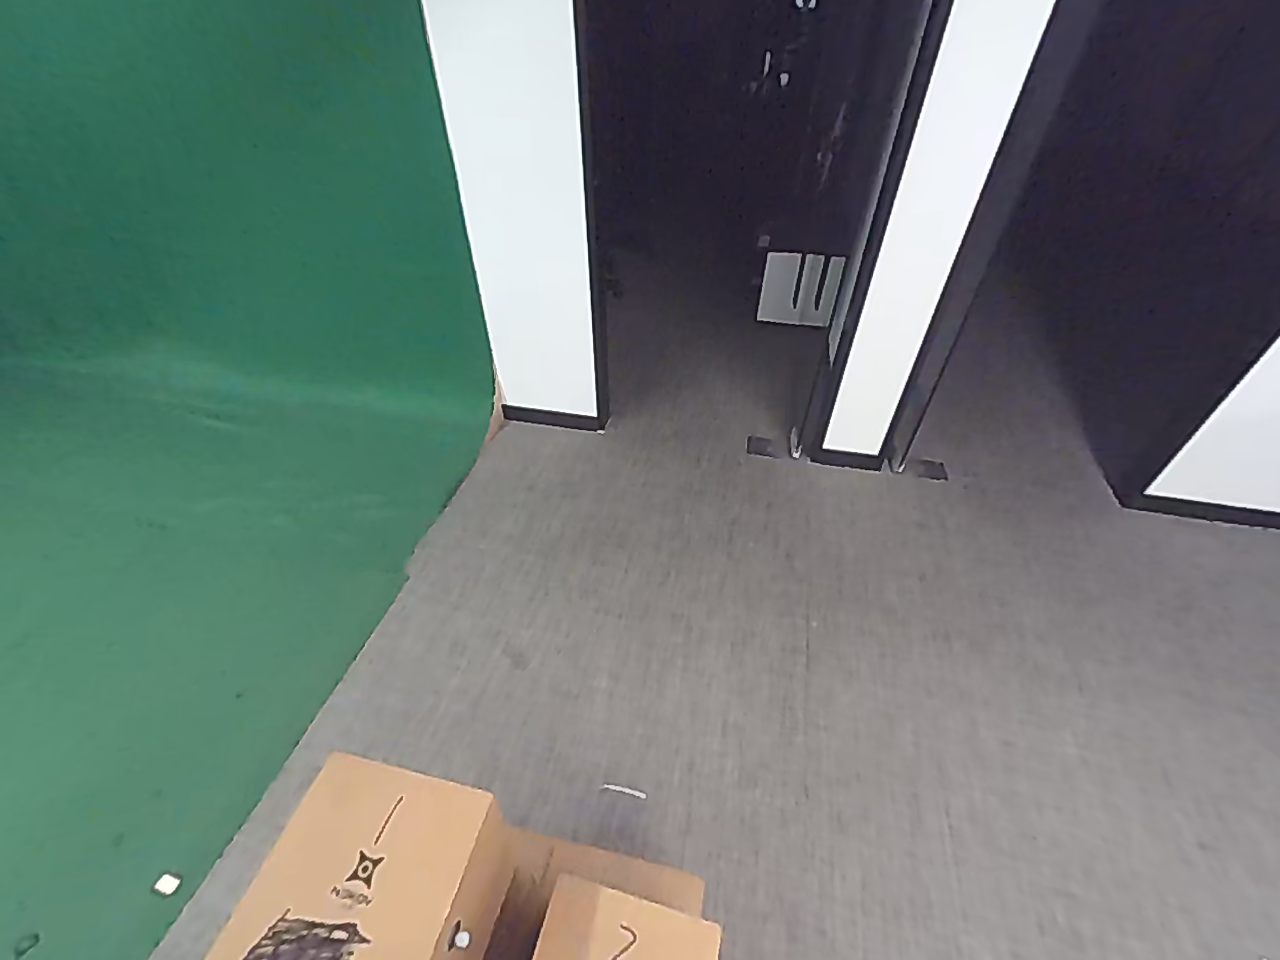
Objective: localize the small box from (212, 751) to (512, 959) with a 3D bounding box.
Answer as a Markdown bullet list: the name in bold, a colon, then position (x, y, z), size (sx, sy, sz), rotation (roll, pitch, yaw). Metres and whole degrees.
- **small box**: position (-0.230, 0.388, 0.499), size (0.168, 0.176, 0.179), rotation (10, 43, 7)

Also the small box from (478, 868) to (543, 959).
- **small box**: position (-0.238, 0.626, 0.725), size (0.168, 0.176, 0.179), rotation (11, 44, 9)
